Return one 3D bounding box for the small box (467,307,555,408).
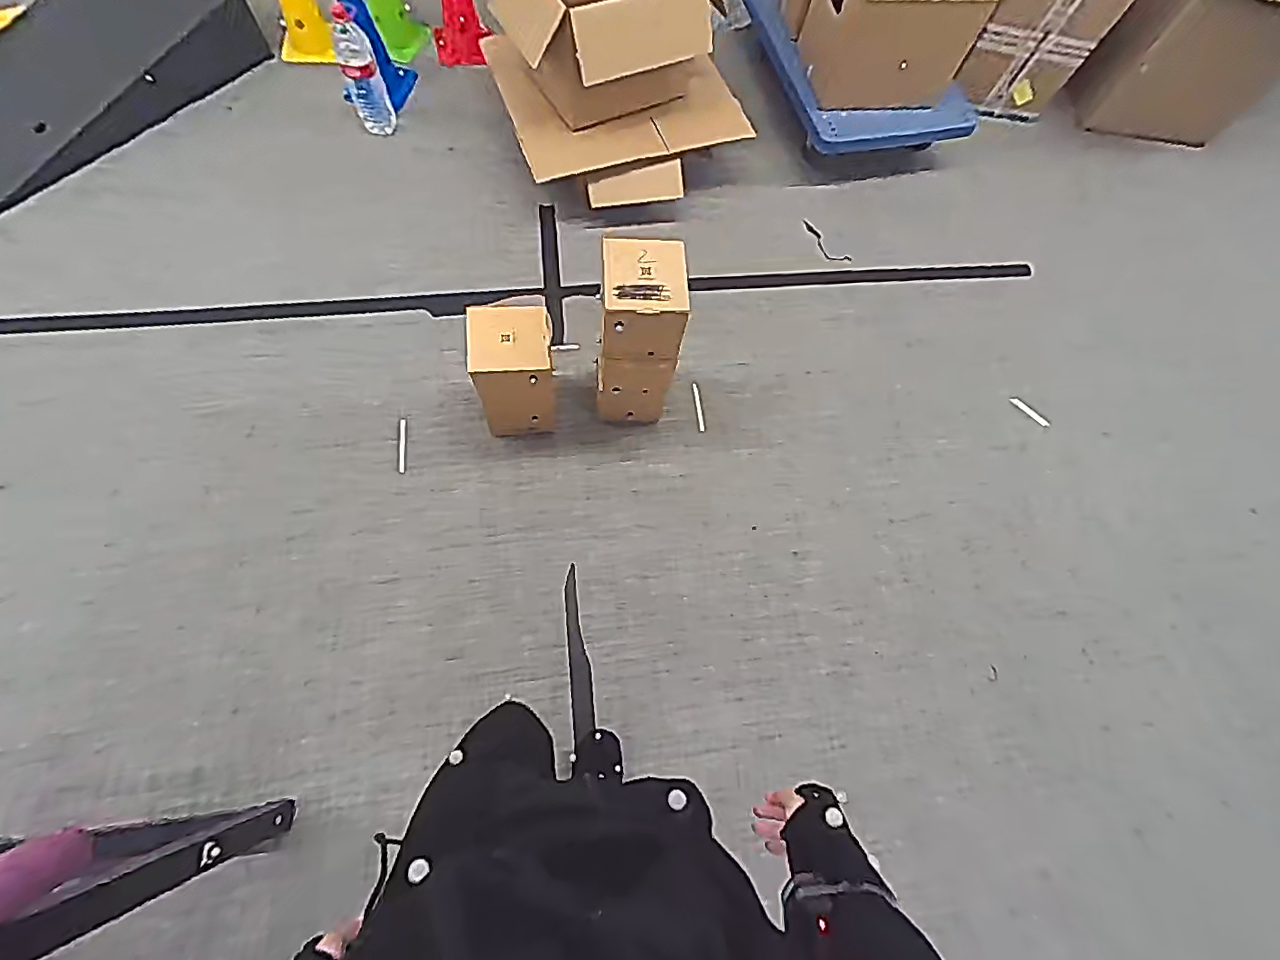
[{"bbox_3d":[-0.292,-0.276,1.241,0.179,0.176,0.168,-5,71,-9],"label":"small box"}]

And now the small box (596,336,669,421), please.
[{"bbox_3d":[-0.026,-0.265,1.438,0.179,0.176,0.168,0,71,-7],"label":"small box"}]

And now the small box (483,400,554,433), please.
[{"bbox_3d":[-0.312,-0.229,1.395,0.168,0.176,0.179,-6,70,-9],"label":"small box"}]

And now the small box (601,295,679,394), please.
[{"bbox_3d":[-0.006,-0.315,1.282,0.168,0.176,0.179,-2,70,-7],"label":"small box"}]
